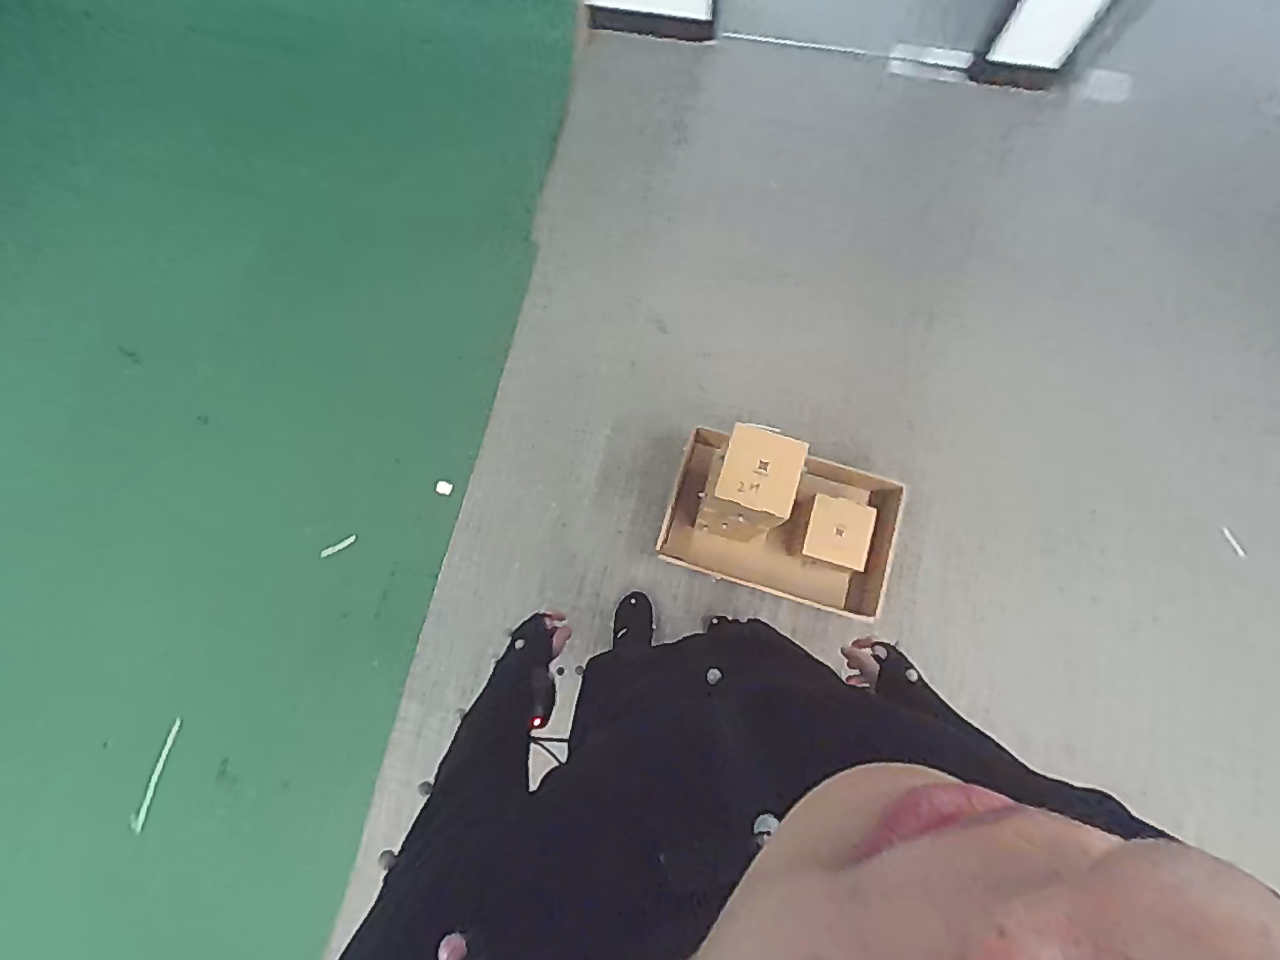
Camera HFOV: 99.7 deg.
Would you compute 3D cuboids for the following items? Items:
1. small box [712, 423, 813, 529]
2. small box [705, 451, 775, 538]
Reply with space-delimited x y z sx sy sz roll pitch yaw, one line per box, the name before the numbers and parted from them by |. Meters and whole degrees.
small box | 0.267 -0.003 1.216 0.168 0.176 0.179 18 79 6
small box | 0.269 0.036 1.376 0.168 0.176 0.179 18 79 5
